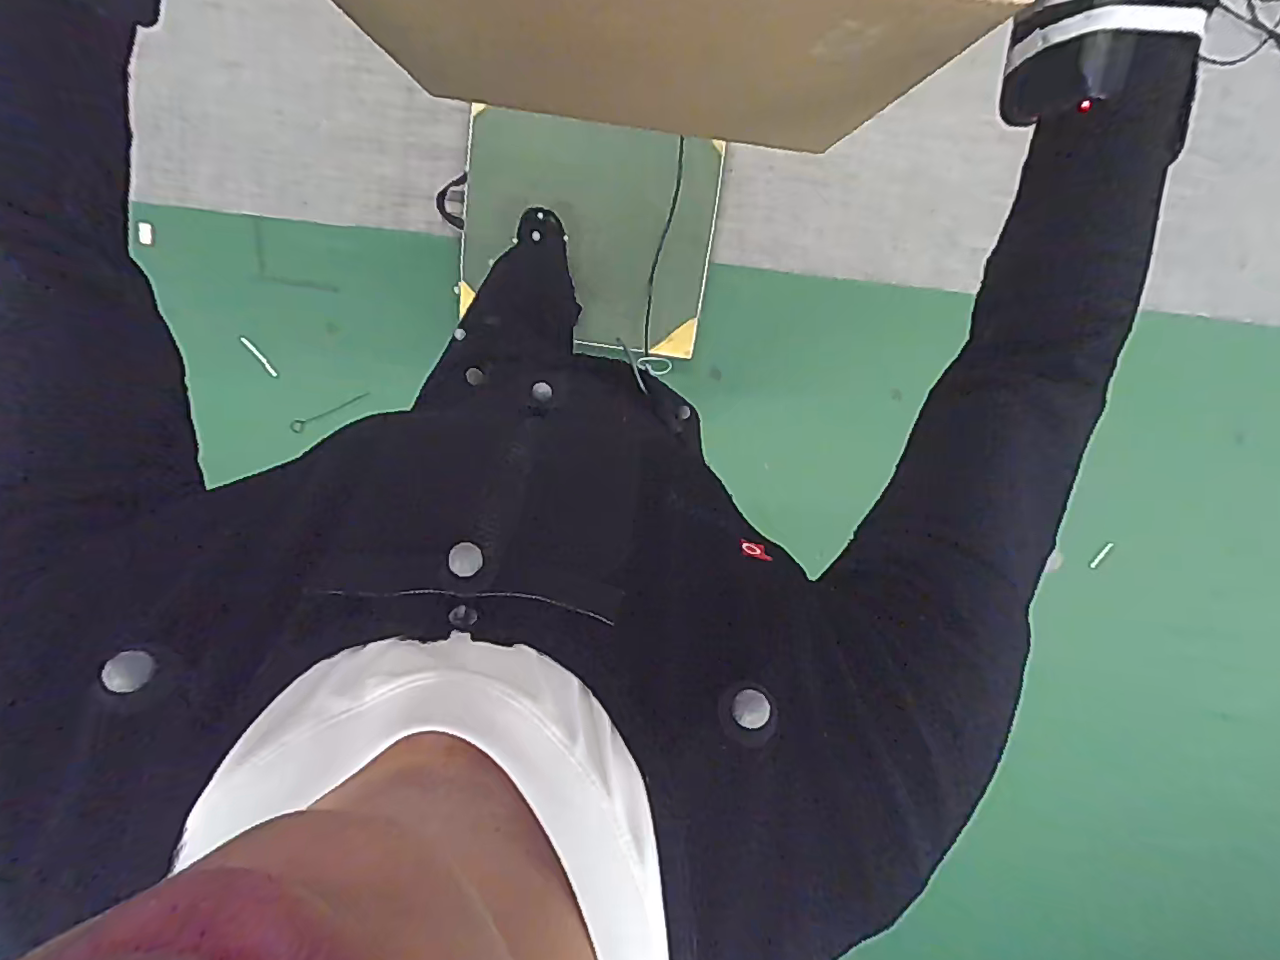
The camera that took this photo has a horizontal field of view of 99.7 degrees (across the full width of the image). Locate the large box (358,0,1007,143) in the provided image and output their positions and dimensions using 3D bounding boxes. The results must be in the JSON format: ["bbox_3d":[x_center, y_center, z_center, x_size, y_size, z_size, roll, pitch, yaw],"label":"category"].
[{"bbox_3d":[0.015,-0.458,0.358,0.408,0.320,0.320,6,109,-4],"label":"large box"}]
